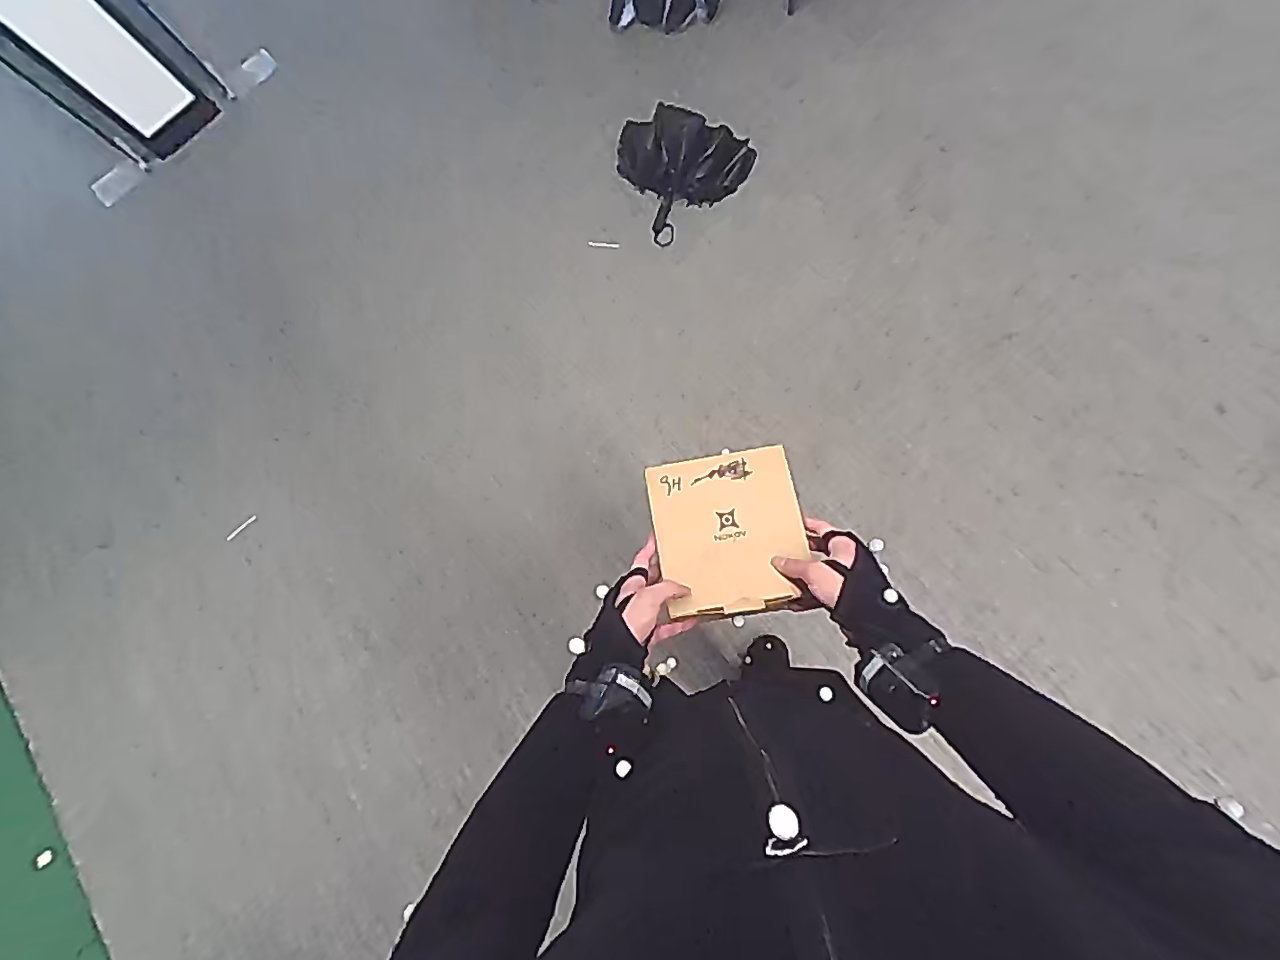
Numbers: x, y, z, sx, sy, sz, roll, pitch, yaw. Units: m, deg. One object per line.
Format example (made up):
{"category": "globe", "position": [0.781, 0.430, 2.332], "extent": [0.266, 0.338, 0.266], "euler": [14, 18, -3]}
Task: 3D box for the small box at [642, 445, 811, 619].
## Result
{"category": "small box", "position": [0.102, 0.076, 0.678], "extent": [0.168, 0.176, 0.179], "euler": [-10, 71, 3]}
